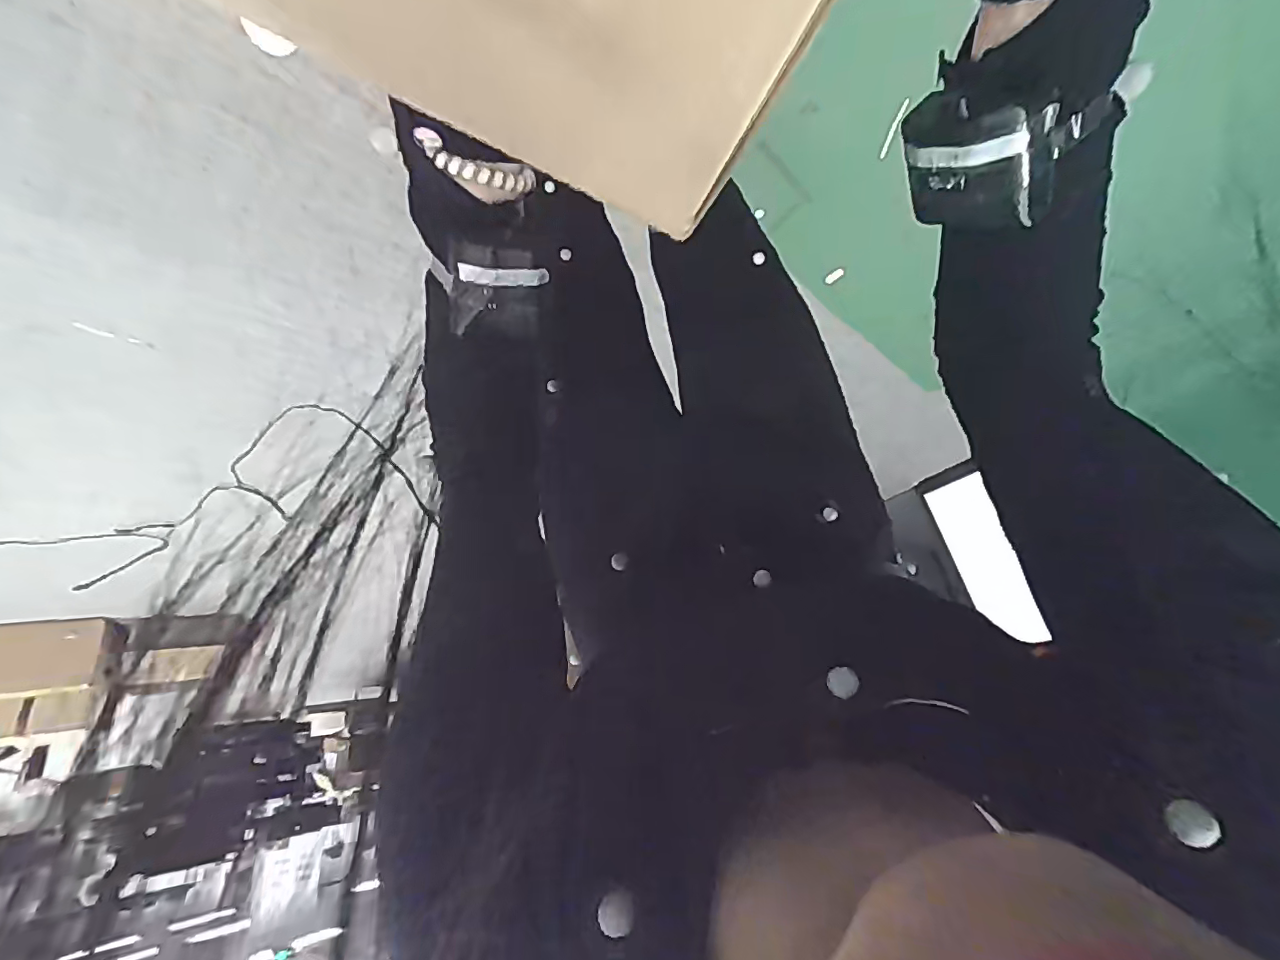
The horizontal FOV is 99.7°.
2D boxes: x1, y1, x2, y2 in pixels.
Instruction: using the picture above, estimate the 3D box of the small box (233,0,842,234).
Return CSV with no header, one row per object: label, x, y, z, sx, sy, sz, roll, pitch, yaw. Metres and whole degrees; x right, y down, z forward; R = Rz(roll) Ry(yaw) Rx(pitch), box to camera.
small box,-0.035,-0.203,0.134,0.176,0.168,0.179,-2,138,-48
